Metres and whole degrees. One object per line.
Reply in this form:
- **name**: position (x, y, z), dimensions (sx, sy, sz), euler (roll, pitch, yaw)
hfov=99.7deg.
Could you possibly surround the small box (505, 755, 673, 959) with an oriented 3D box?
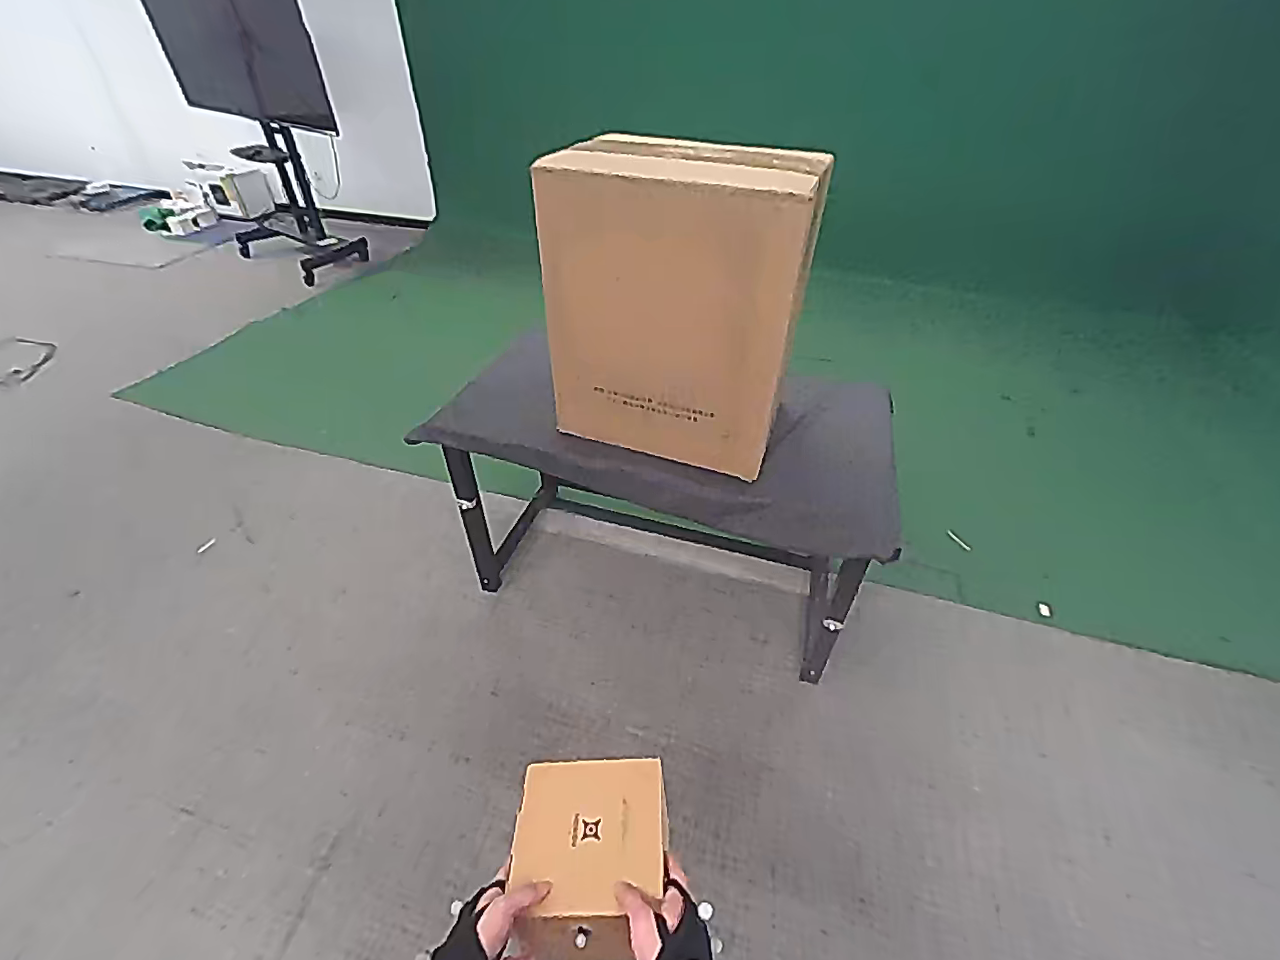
- **small box**: position (-0.053, 0.474, 0.680), dimensions (0.179, 0.176, 0.168), euler (-3, 35, 1)
